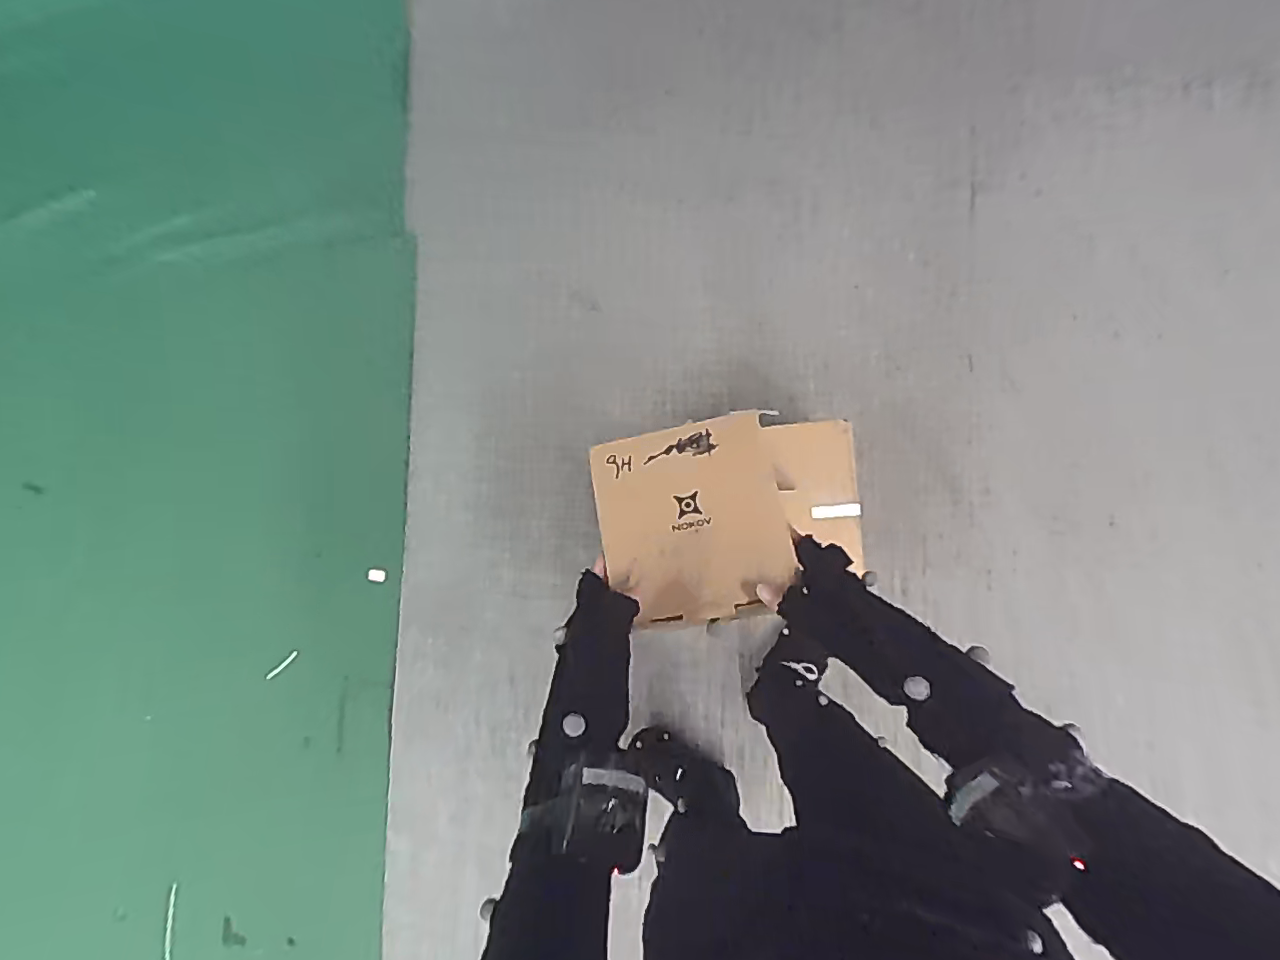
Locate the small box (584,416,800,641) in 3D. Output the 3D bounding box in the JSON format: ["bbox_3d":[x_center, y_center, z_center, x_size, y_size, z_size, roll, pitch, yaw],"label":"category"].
[{"bbox_3d":[0.055,0.061,0.553,0.168,0.176,0.179,-14,71,6],"label":"small box"}]

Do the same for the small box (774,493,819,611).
[{"bbox_3d":[0.176,0.106,0.844,0.179,0.176,0.168,-3,88,11],"label":"small box"}]
